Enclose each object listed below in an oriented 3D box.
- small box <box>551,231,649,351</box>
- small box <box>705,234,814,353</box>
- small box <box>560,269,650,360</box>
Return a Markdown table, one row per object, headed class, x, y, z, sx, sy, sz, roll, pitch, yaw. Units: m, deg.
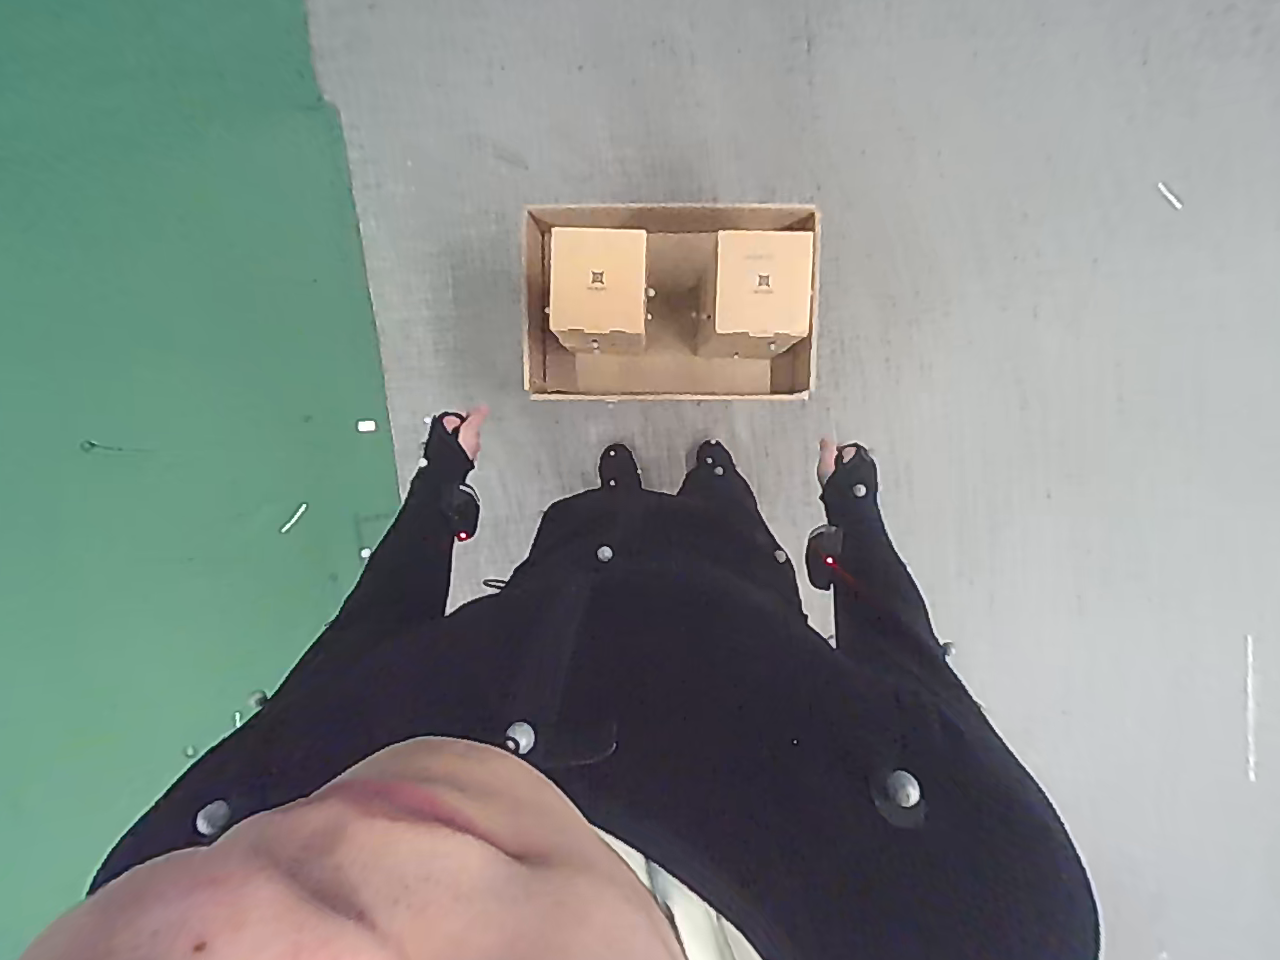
| class | x | y | z | sx | sy | sz | roll | pitch | yaw |
| --- | --- | --- | --- | --- | --- | --- | --- | --- | --- |
| small box | -0.071 | -0.347 | 1.017 | 0.168 | 0.176 | 0.179 | 2 | 95 | 1 |
| small box | 0.214 | -0.337 | 1.007 | 0.168 | 0.176 | 0.179 | 2 | 94 | 0 |
| small box | -0.071 | -0.359 | 1.181 | 0.179 | 0.176 | 0.168 | 4 | 95 | 0 |
